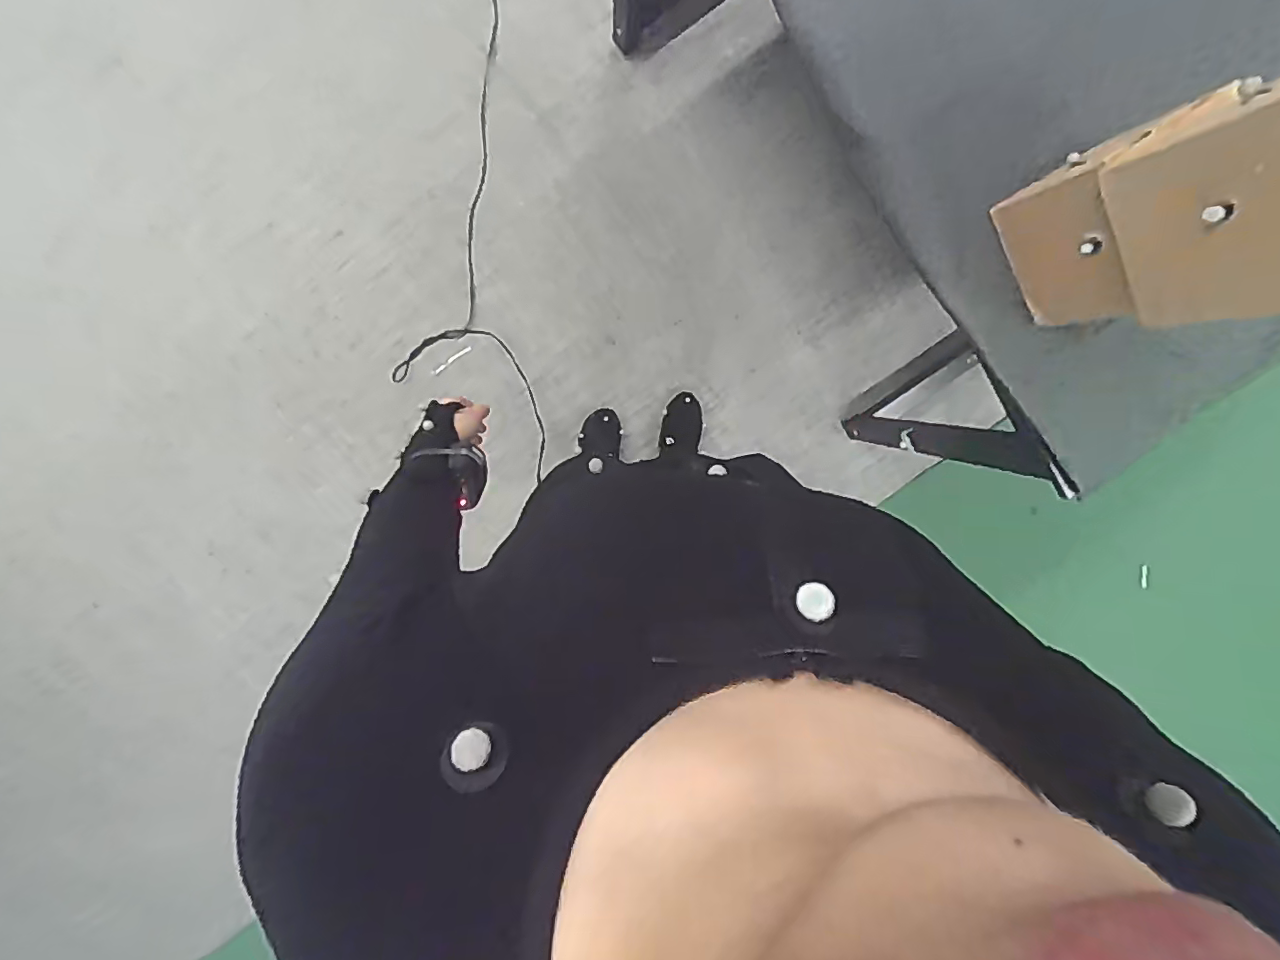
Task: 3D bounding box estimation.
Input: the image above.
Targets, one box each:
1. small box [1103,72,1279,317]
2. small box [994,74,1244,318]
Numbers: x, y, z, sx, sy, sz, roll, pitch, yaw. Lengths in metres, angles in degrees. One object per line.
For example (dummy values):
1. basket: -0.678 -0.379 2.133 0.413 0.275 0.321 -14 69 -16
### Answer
1. small box: 0.576 -0.268 0.485 0.168 0.176 0.179 -28 100 1
2. small box: 0.571 -0.315 0.643 0.168 0.176 0.179 -31 101 2
